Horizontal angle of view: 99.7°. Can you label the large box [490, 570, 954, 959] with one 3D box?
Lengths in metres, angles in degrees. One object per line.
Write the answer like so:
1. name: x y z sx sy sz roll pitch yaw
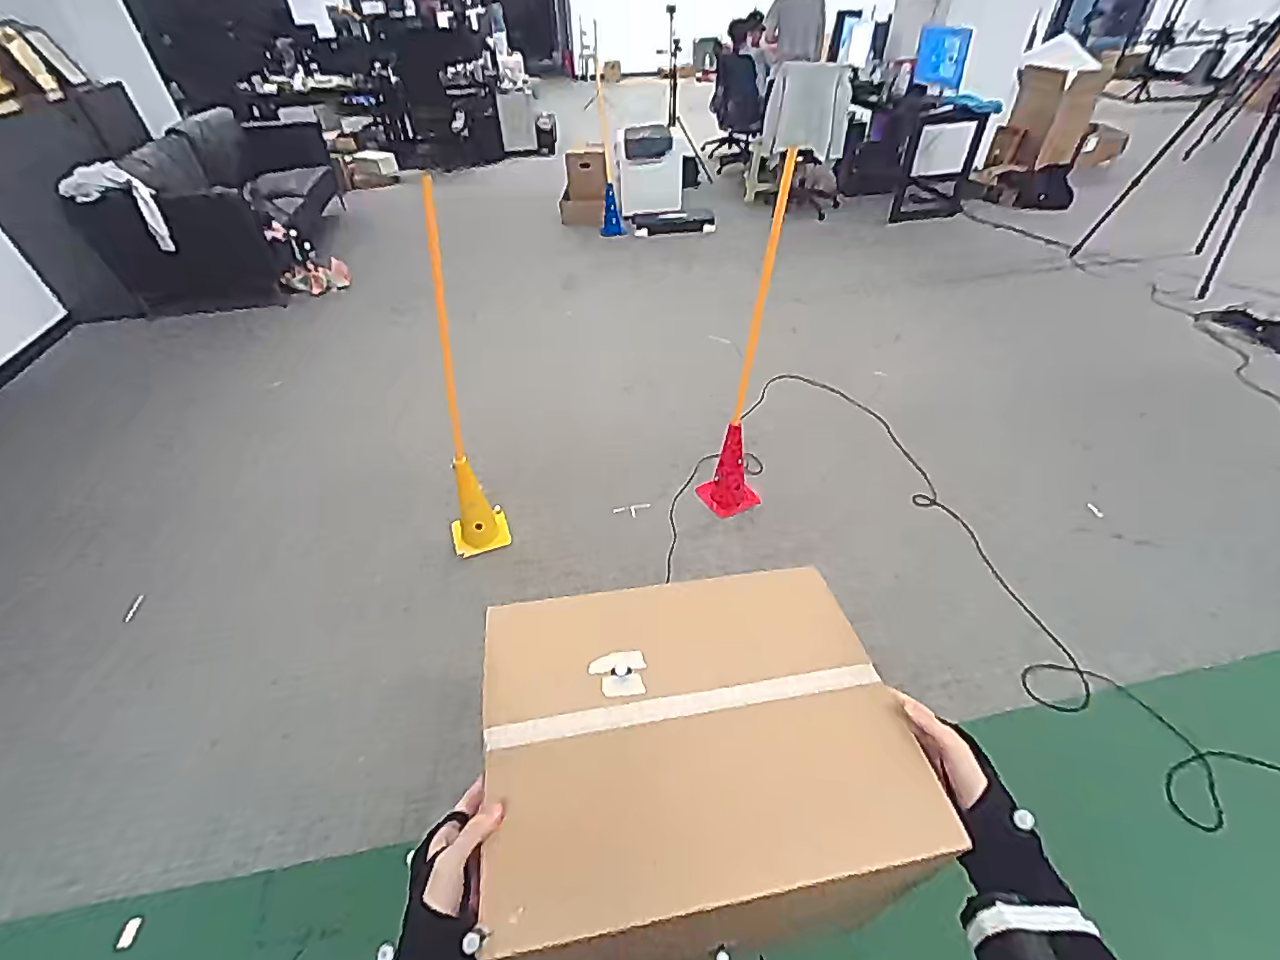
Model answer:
1. large box: 0.051 0.347 0.643 0.408 0.320 0.320 -6 41 -9
